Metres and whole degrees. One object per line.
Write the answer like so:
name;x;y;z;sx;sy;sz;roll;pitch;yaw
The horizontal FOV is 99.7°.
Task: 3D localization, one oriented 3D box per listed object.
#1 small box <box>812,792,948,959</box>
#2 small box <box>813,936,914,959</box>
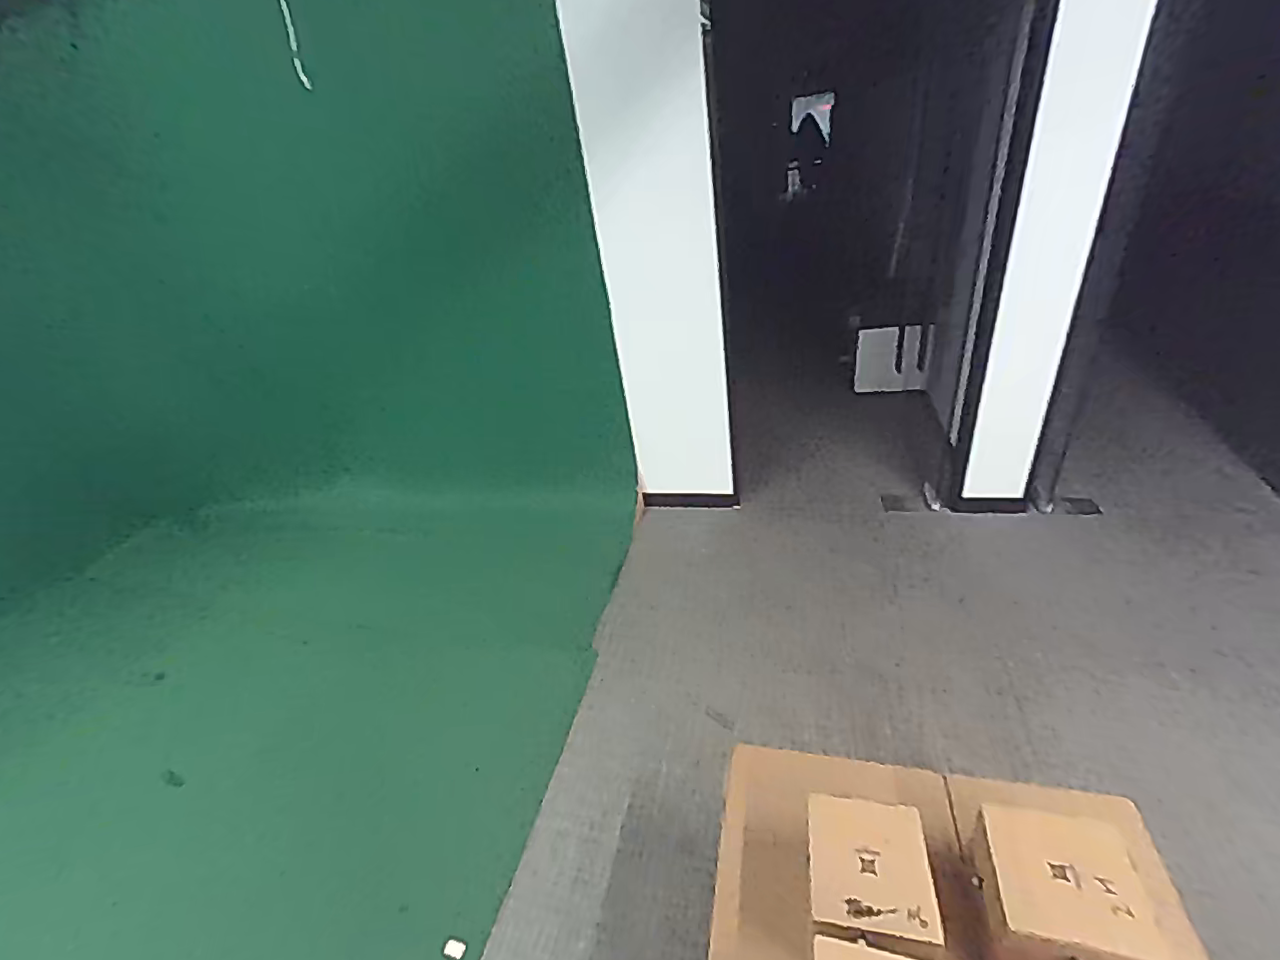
small box;0.349;0.616;0.819;0.168;0.176;0.179;-2;31;17
small box;0.265;0.610;0.542;0.179;0.176;0.168;1;34;18
